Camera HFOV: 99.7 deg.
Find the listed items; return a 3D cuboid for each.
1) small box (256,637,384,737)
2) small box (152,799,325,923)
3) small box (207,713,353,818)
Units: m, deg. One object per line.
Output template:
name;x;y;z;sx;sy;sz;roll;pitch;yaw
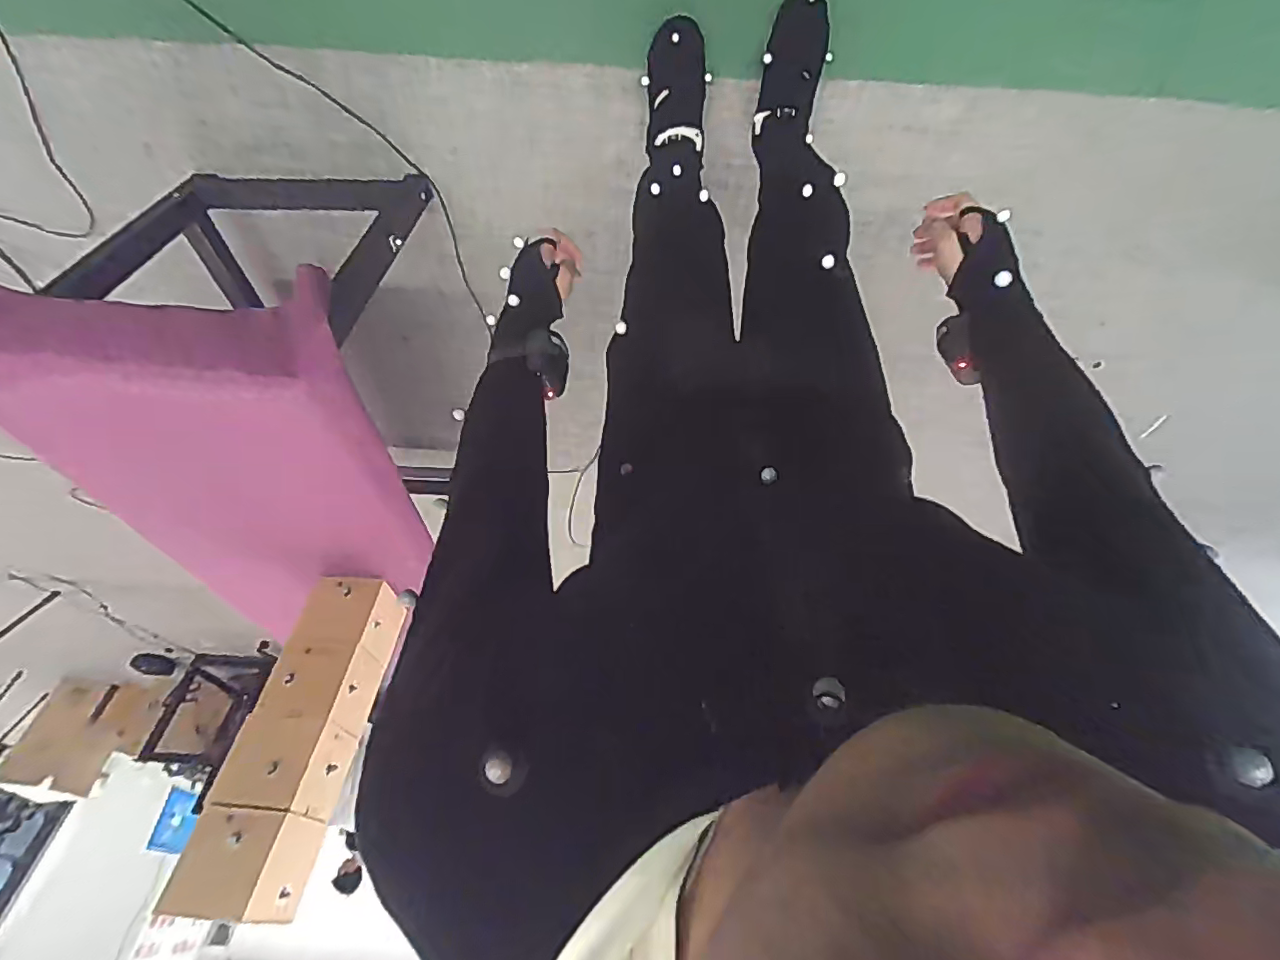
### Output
small box;-0.719;0.473;1.238;0.168;0.176;0.179;4;141;2
small box;-0.744;0.726;1.031;0.168;0.176;0.179;3;140;3
small box;-0.736;0.598;1.136;0.179;0.176;0.168;2;140;3
